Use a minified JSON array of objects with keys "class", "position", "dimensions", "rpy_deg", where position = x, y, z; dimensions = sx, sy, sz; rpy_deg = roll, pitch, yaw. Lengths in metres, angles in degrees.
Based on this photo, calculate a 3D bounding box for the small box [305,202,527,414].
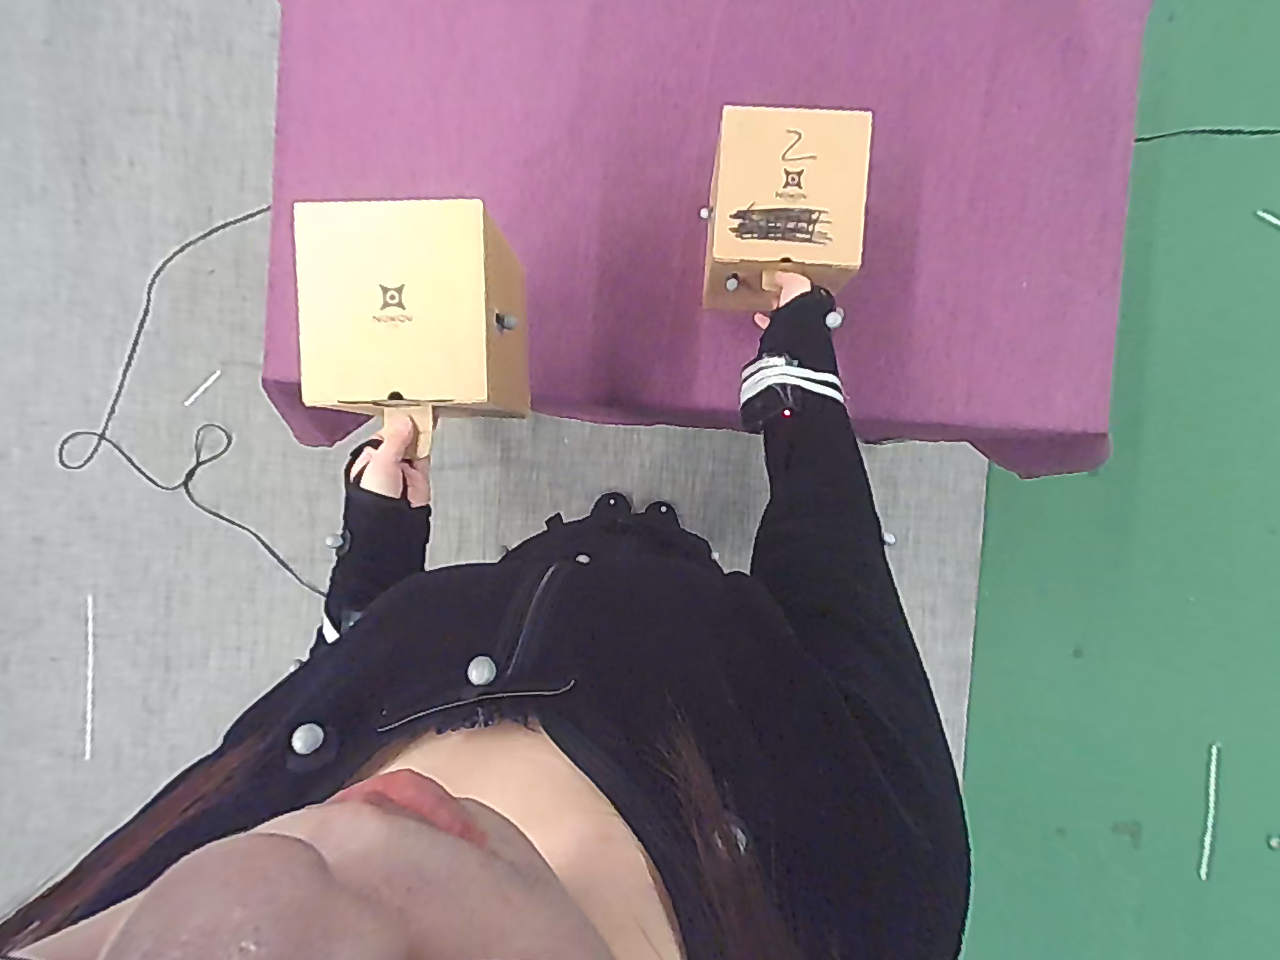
[{"class":"small box","position":[-0.217,-0.164,0.565],"dimensions":[0.168,0.176,0.179],"rpy_deg":[0,93,0]}]
